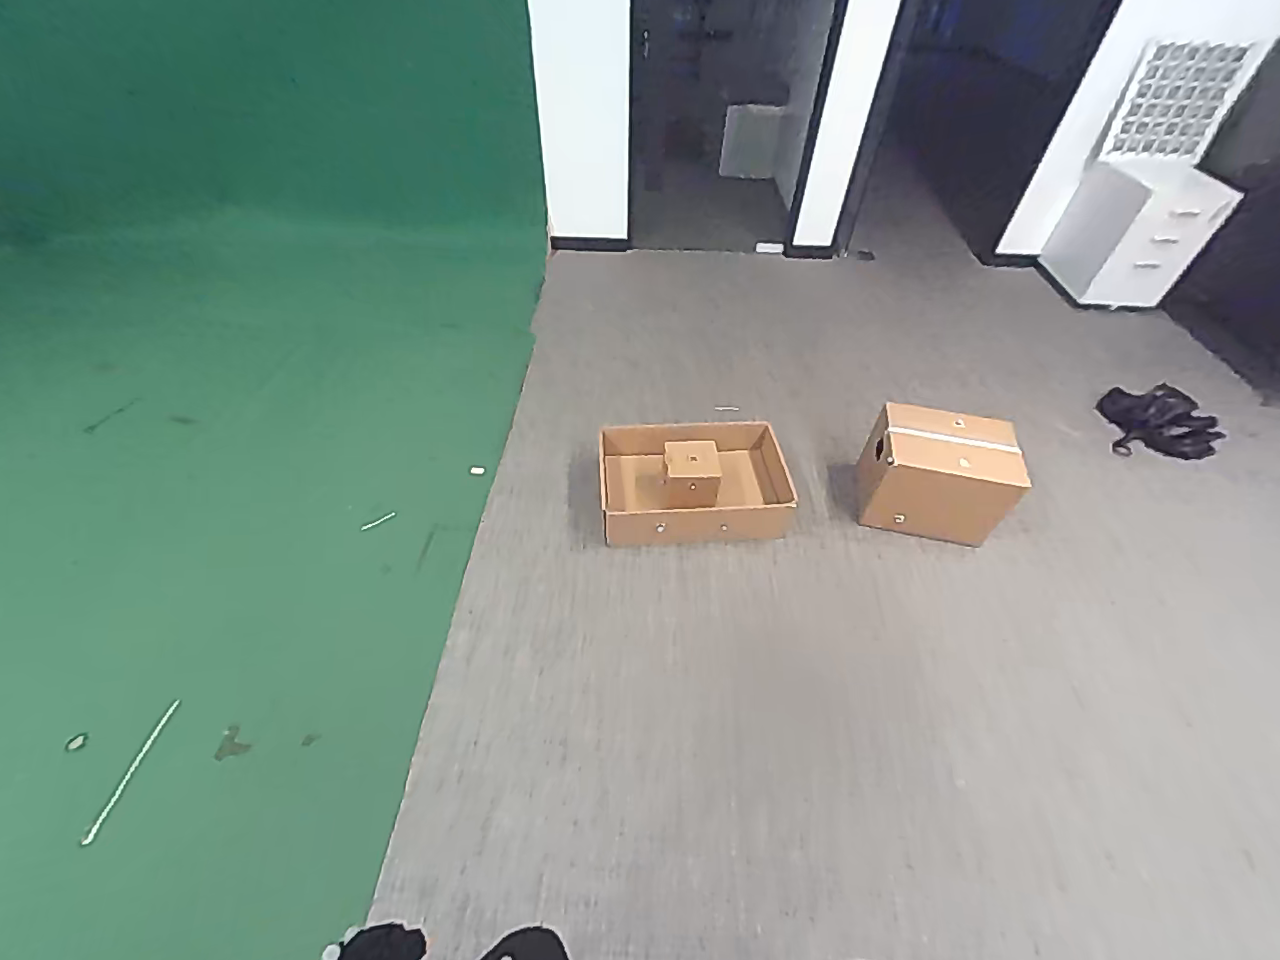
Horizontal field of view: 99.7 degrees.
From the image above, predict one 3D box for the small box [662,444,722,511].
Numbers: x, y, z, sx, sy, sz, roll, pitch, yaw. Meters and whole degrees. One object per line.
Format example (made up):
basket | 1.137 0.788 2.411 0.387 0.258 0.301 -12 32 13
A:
small box | 0.170 -0.007 1.840 0.179 0.176 0.168 0 48 -5
